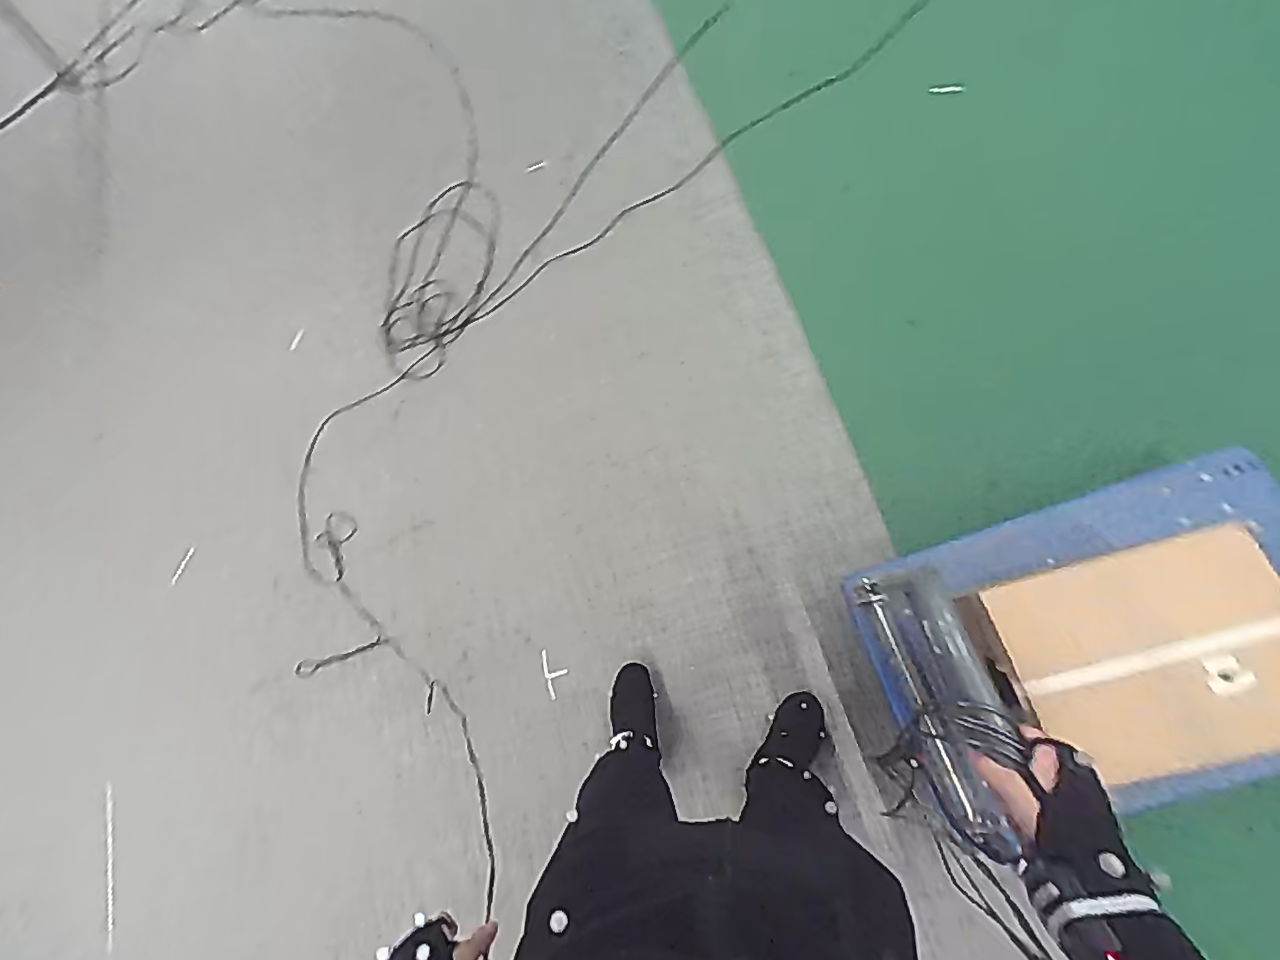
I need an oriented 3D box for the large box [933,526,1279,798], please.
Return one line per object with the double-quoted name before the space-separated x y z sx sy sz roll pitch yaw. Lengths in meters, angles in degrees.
"large box" 0.822 0.310 0.958 0.408 0.320 0.320 -18 72 7
